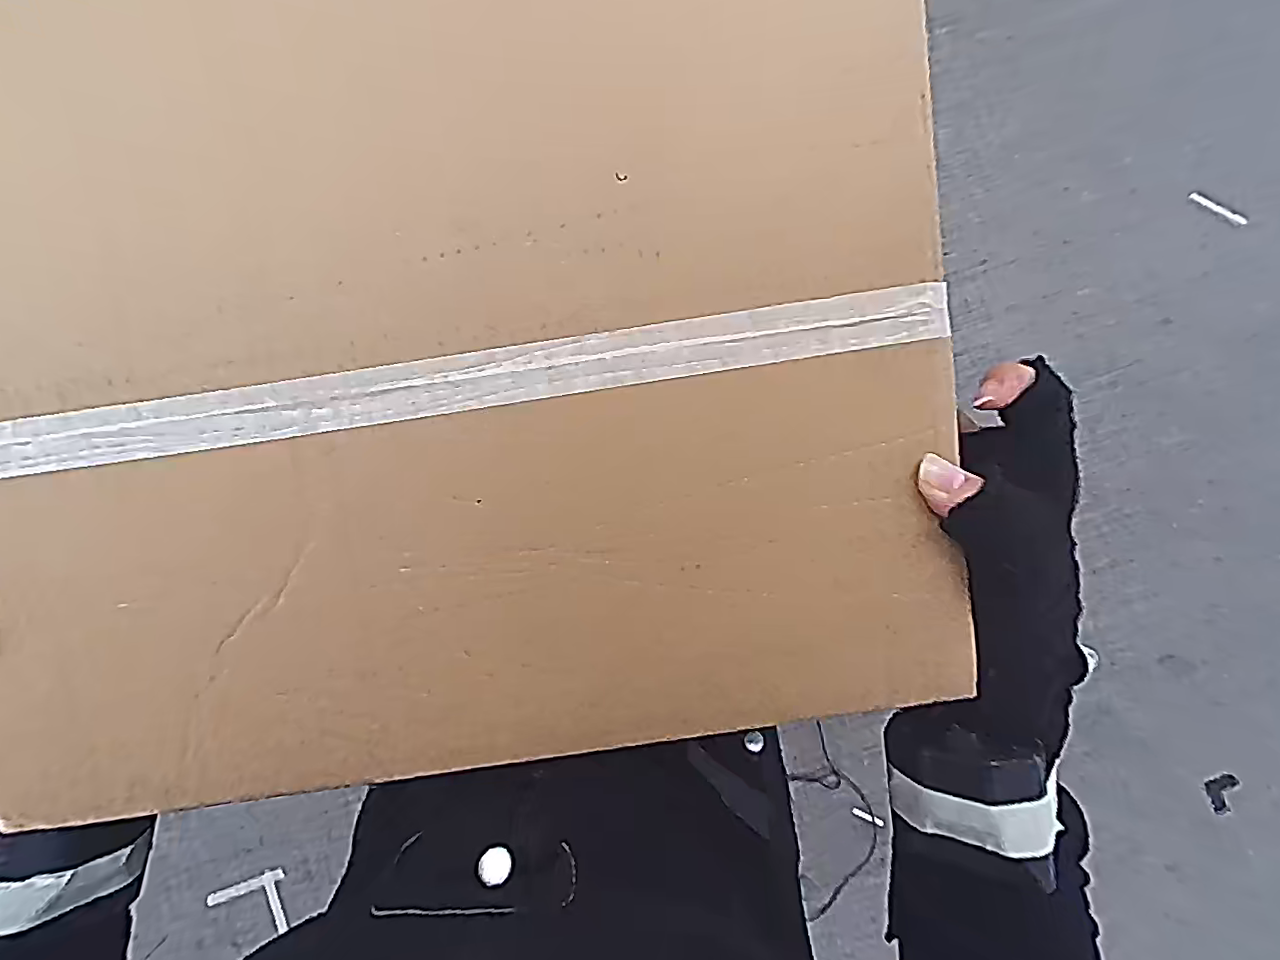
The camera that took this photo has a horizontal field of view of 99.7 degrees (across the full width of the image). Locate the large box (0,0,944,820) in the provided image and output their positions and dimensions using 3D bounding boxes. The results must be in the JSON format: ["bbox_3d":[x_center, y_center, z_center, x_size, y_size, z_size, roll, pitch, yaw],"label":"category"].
[{"bbox_3d":[-0.085,-0.049,0.367,0.408,0.320,0.320,-9,96,0],"label":"large box"}]
